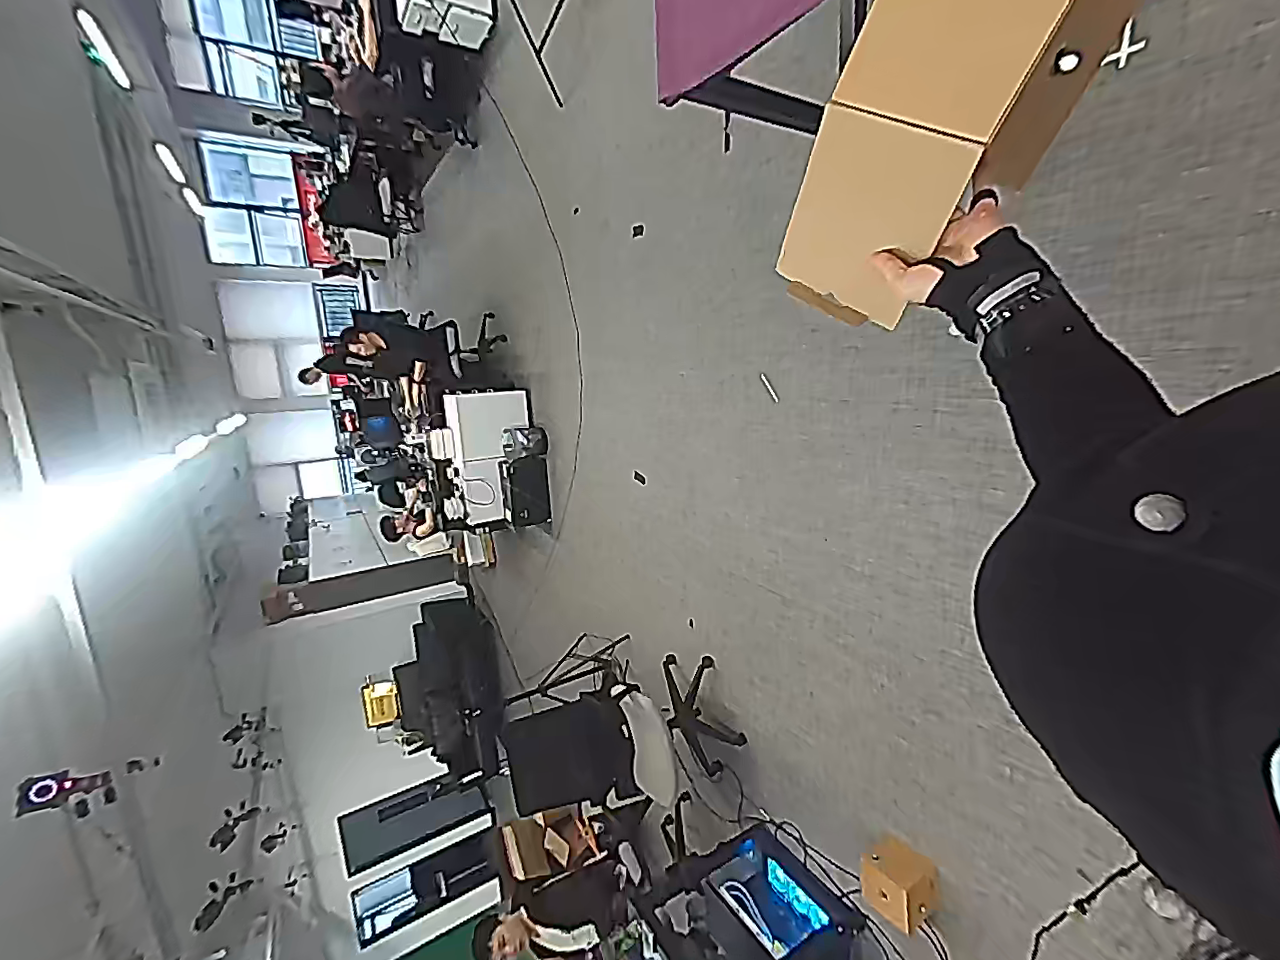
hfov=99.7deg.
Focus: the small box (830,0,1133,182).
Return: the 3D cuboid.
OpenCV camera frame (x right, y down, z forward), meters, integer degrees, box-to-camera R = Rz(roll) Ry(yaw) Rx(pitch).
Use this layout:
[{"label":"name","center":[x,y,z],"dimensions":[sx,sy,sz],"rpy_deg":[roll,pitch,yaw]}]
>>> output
[{"label":"small box","center":[0.325,-0.413,0.517],"dimensions":[0.168,0.176,0.179],"rpy_deg":[42,125,29]}]
